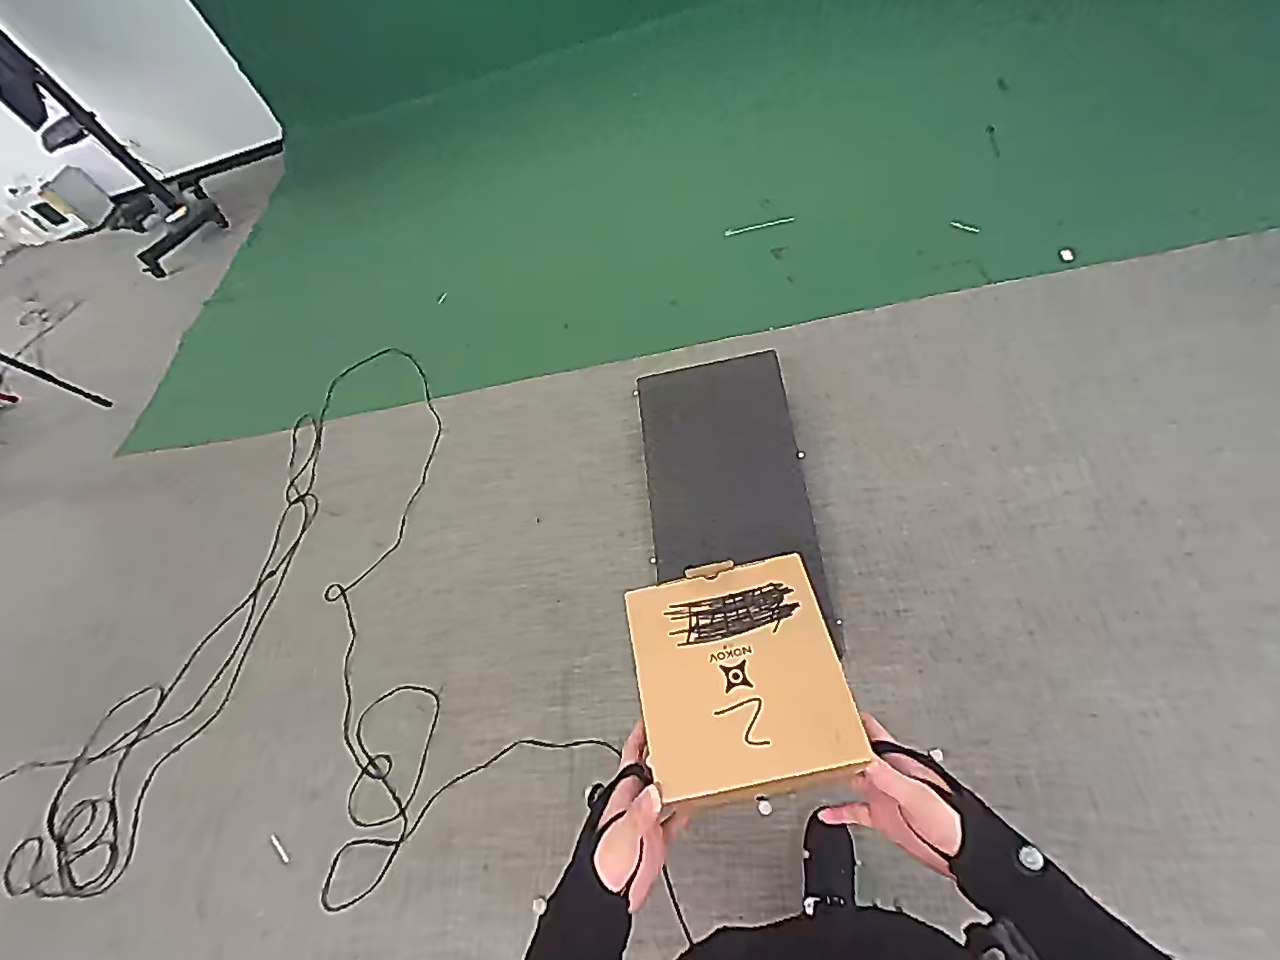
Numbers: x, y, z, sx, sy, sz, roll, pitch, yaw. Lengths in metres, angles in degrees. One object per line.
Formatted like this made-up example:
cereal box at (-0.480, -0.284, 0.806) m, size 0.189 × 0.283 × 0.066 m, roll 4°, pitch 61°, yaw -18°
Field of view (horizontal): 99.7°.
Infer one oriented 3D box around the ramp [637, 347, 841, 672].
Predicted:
ramp at (0.272, 0.052, 1.691) m, size 0.509 × 0.206 × 0.991 m, roll -11°, pitch 58°, yaw 9°
